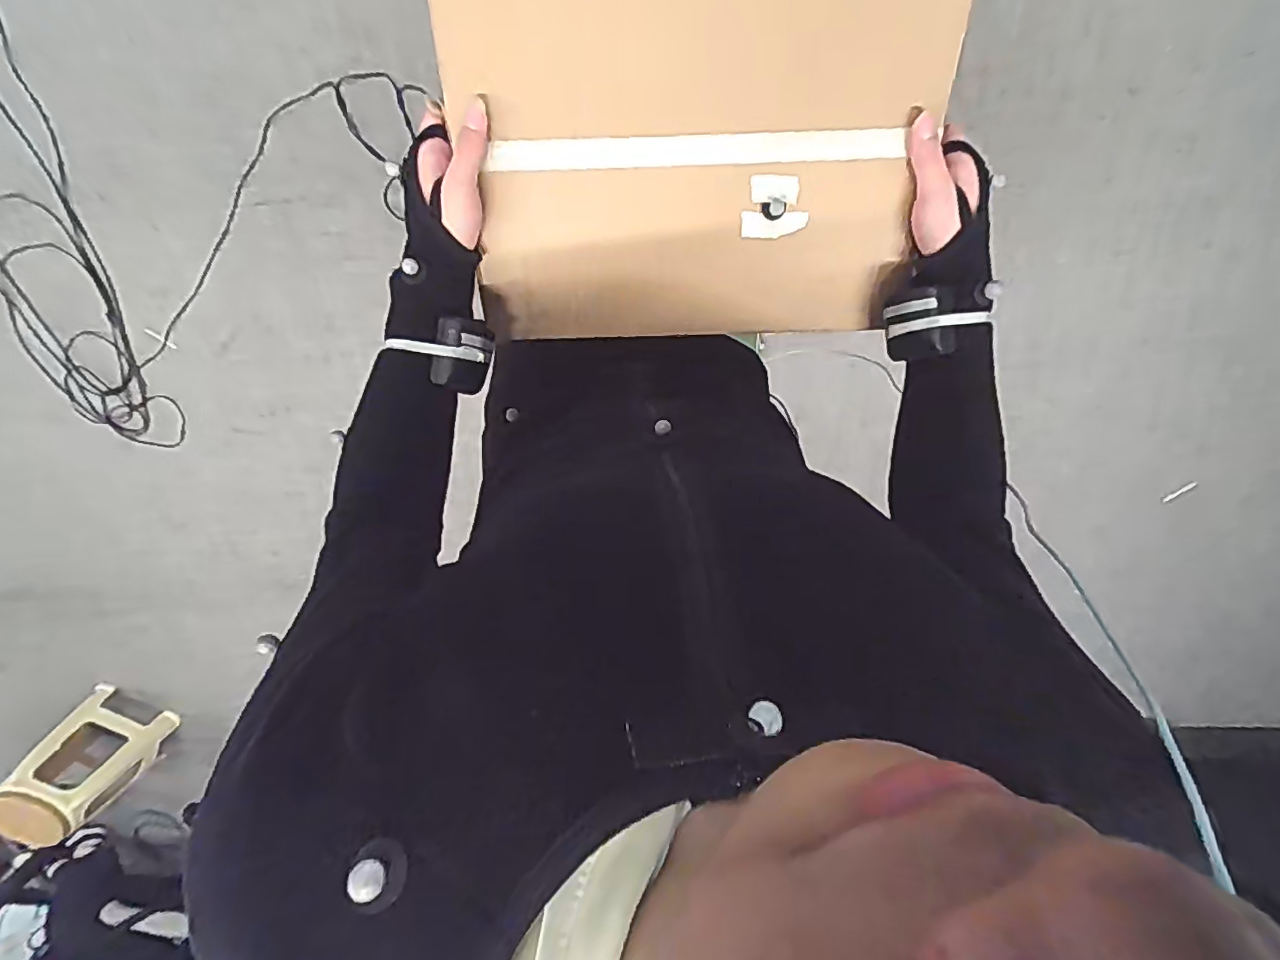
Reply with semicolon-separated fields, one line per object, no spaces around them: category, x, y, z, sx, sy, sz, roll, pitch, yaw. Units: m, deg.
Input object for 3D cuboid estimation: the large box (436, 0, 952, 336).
large box;0.041;-0.361;0.591;0.408;0.320;0.320;-3;121;-1
